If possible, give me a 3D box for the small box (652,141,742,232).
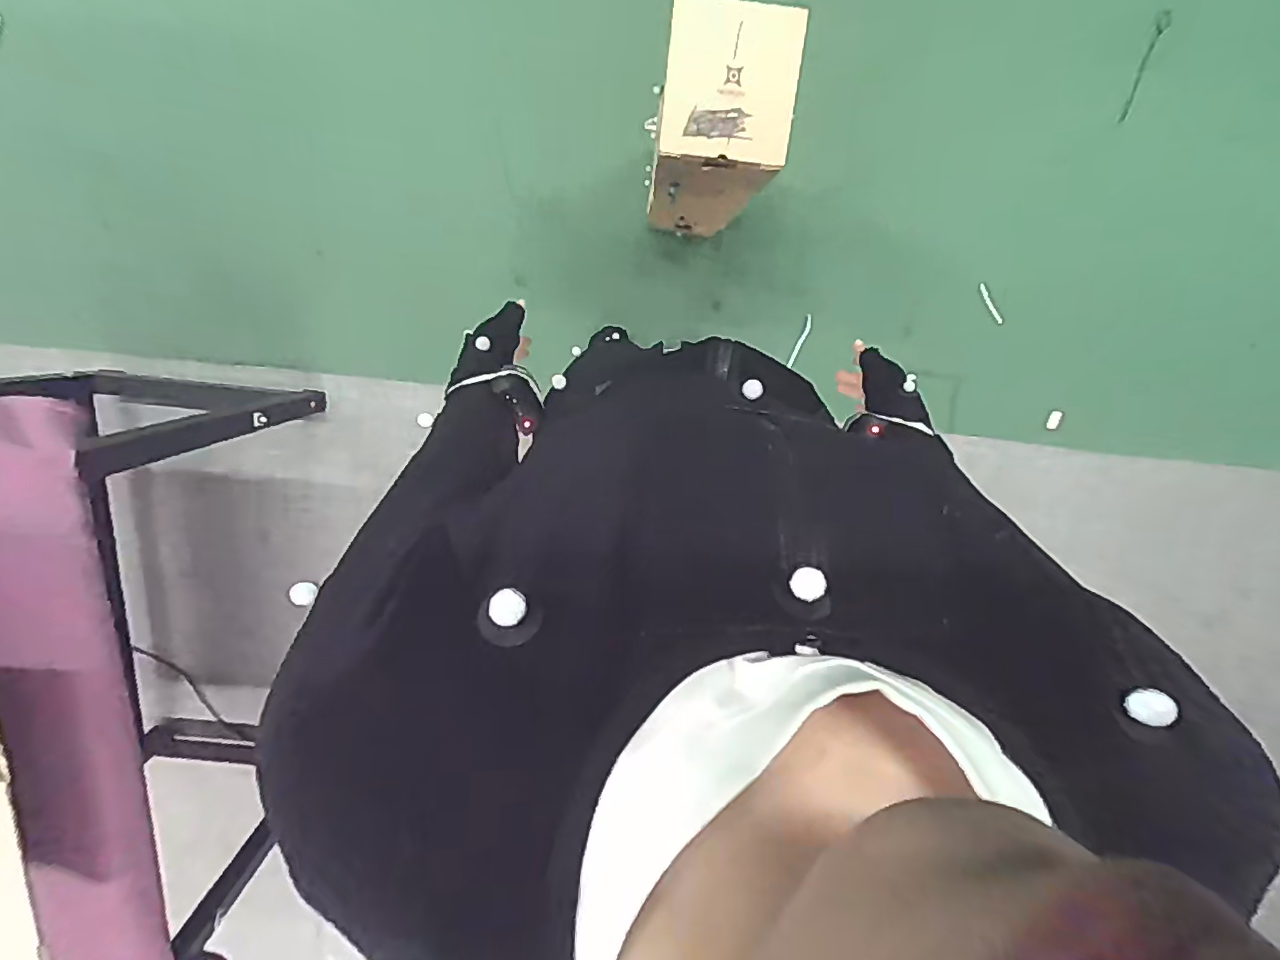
[{"bbox_3d":[0.114,-0.606,1.070,0.168,0.176,0.179,5,106,-2],"label":"small box"}]

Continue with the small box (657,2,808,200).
[{"bbox_3d":[0.115,-0.508,0.755,0.168,0.176,0.179,6,105,-2],"label":"small box"}]

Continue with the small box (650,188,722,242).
[{"bbox_3d":[0.114,-0.657,1.225,0.168,0.176,0.179,8,106,-2],"label":"small box"}]
